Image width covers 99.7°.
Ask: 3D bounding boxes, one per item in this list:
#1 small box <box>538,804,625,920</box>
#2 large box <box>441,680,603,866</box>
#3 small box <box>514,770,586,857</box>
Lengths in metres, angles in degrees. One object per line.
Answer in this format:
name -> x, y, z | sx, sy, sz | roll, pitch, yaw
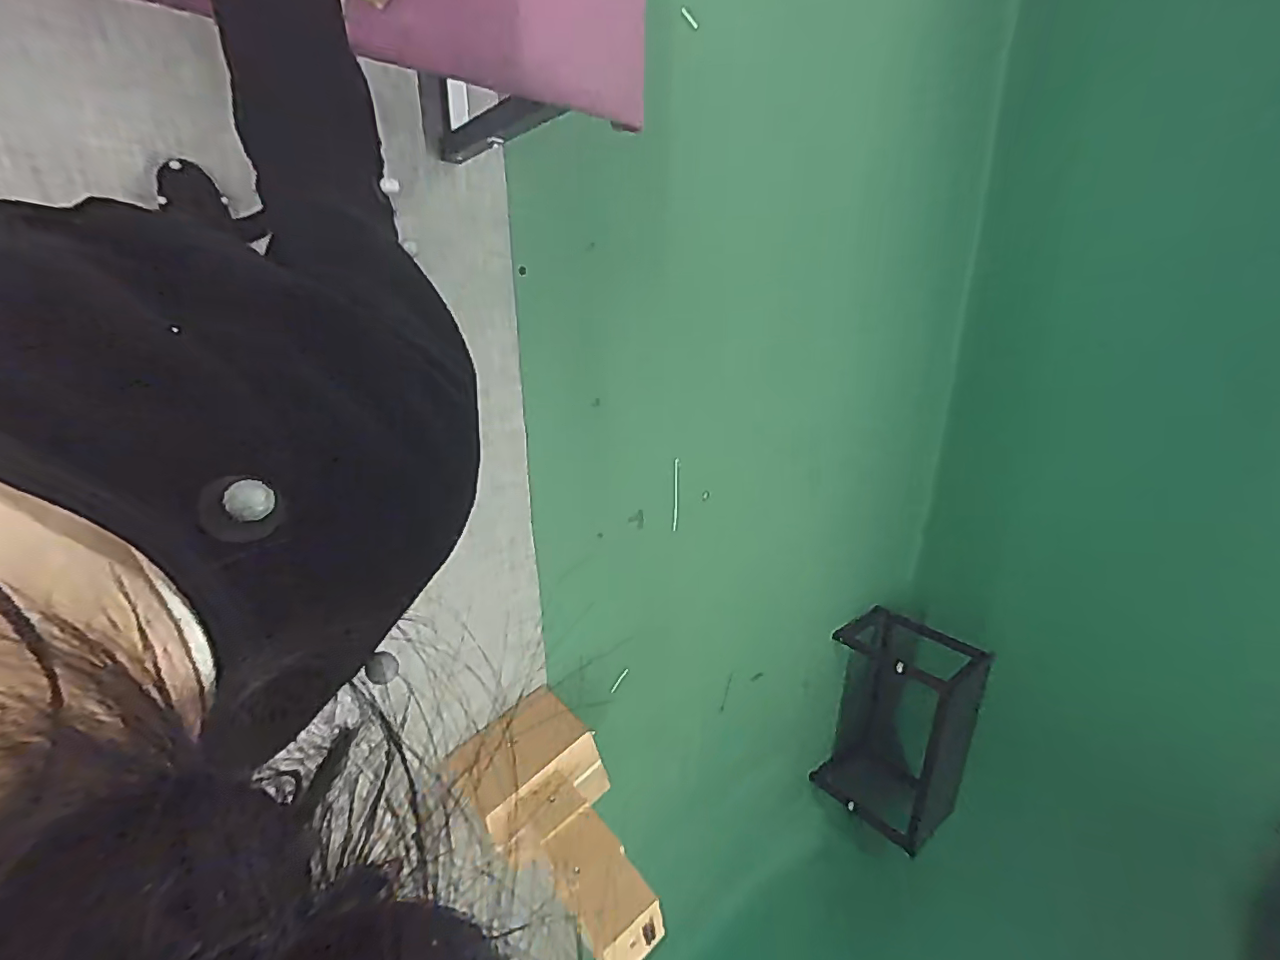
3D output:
small box -> -0.169, 1.087, 1.557 | 0.179, 0.176, 0.168 | -23, 118, -33
large box -> -0.404, 0.996, 1.879 | 0.408, 0.320, 0.320 | -31, 124, -32
small box -> -0.271, 1.040, 1.674 | 0.168, 0.176, 0.179 | -25, 119, -33
